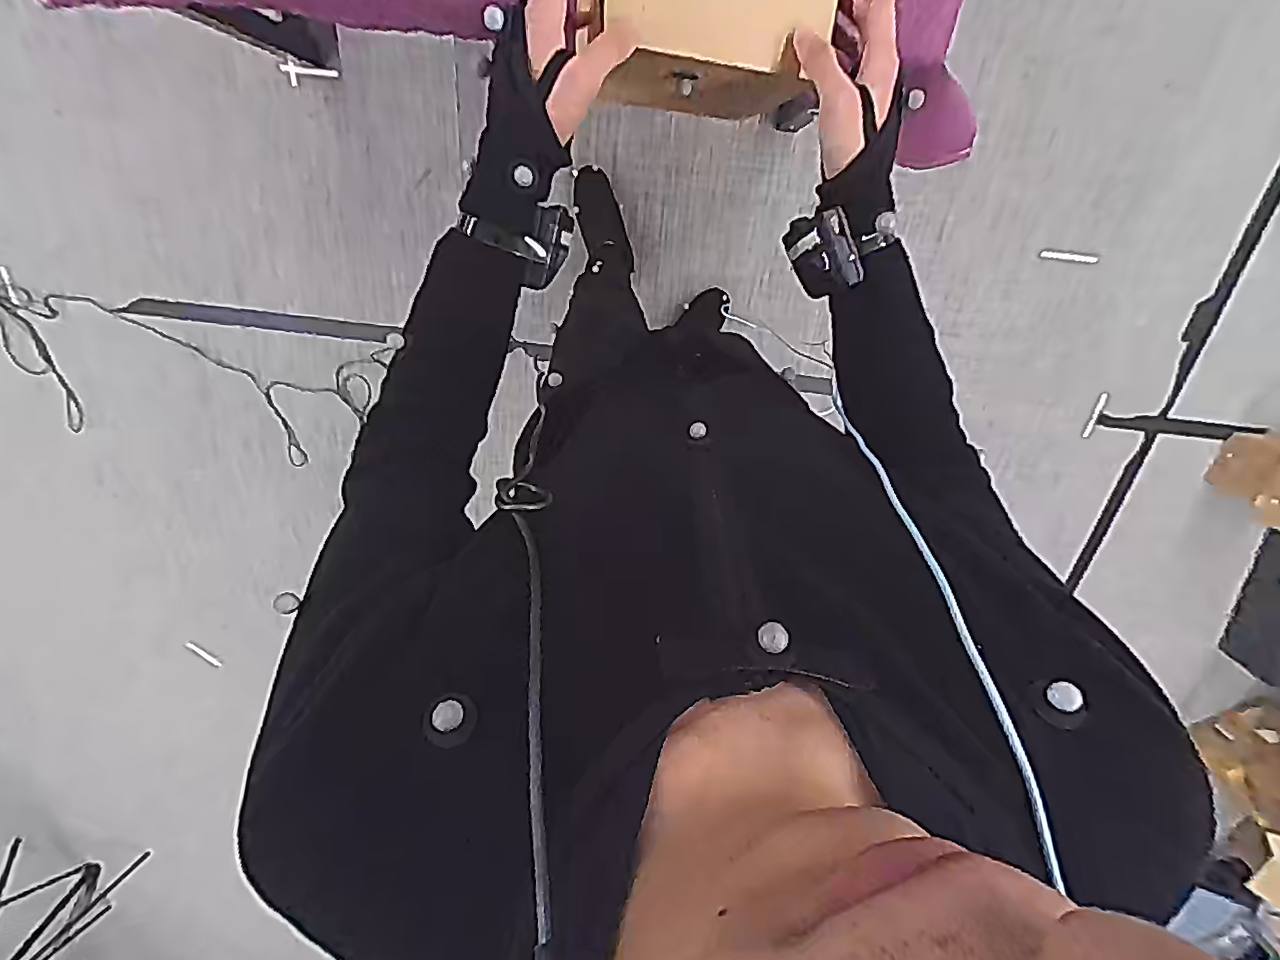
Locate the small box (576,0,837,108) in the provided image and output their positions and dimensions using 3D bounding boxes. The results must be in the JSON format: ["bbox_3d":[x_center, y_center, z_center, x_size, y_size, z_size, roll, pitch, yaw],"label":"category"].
[{"bbox_3d":[0.046,-0.416,0.429,0.179,0.176,0.168,0,115,-14],"label":"small box"}]
